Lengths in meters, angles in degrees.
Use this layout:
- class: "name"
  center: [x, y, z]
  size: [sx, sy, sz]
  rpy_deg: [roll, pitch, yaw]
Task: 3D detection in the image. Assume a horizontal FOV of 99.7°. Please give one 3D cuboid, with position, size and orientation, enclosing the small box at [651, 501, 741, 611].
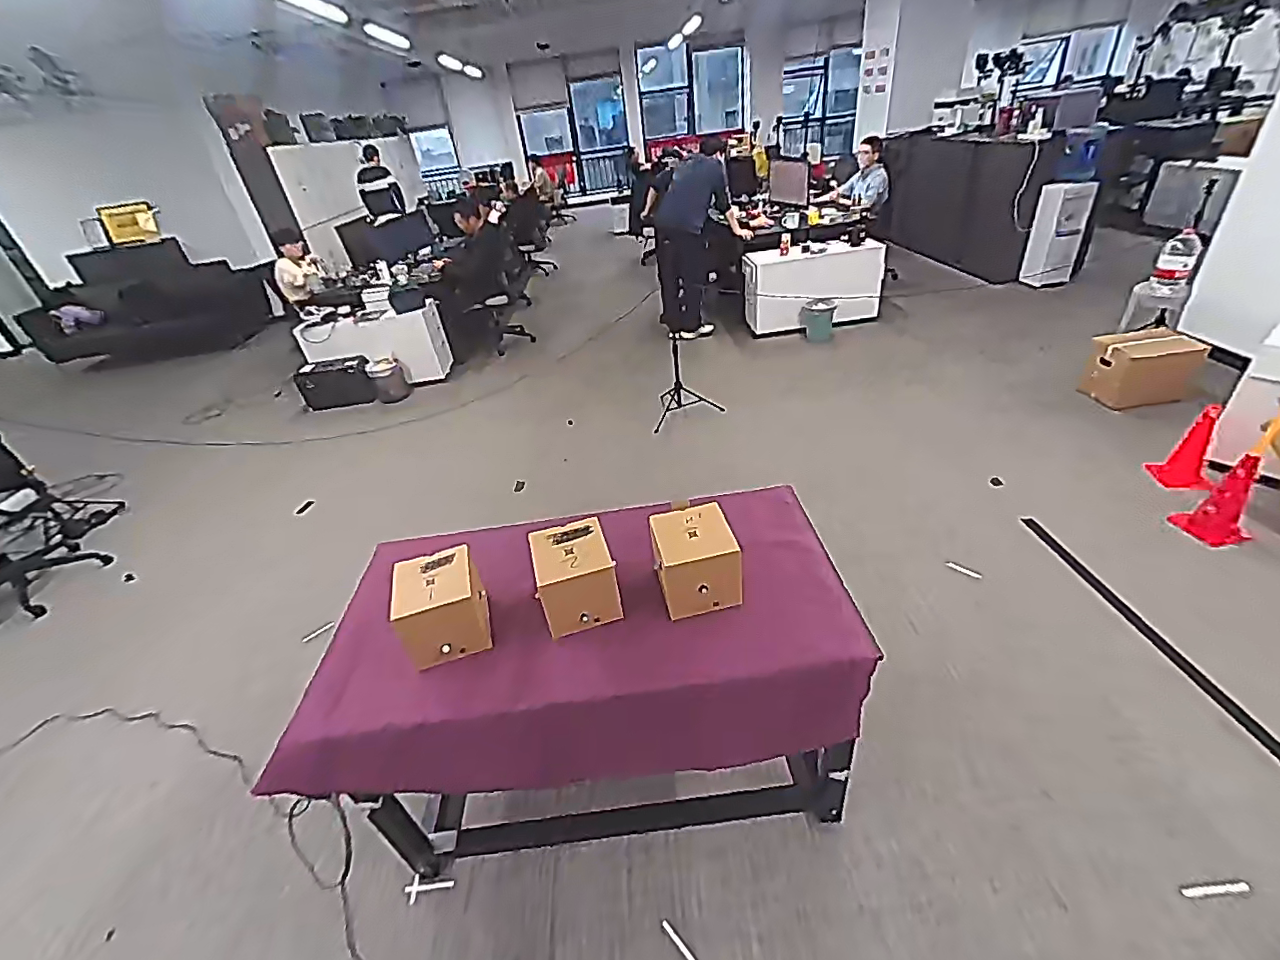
- class: "small box"
  center: [0.127, 0.178, 1.228]
  size: [0.168, 0.176, 0.179]
  rpy_deg: [-11, 34, -4]

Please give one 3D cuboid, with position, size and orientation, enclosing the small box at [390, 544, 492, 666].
- class: "small box"
  center: [-0.438, 0.277, 1.206]
  size: [0.168, 0.176, 0.179]
  rpy_deg: [-16, 36, -10]
